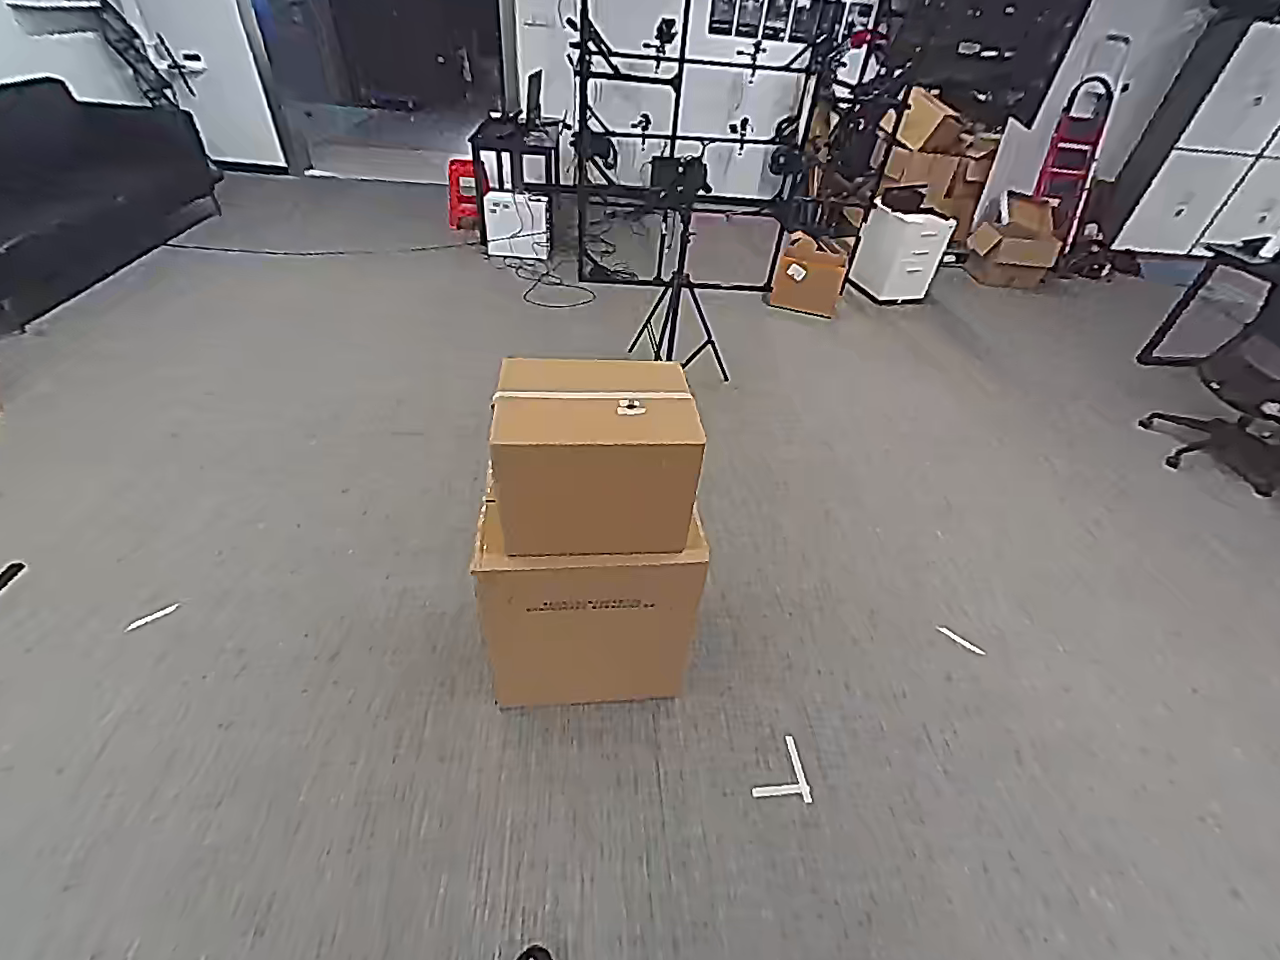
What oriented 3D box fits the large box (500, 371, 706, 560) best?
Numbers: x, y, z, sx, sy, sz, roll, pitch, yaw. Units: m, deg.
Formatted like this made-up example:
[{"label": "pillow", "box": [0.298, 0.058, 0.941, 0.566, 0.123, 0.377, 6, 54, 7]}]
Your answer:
[{"label": "large box", "box": [-0.097, -0.036, 1.228, 0.408, 0.320, 0.320, 0, 41, -8]}]
